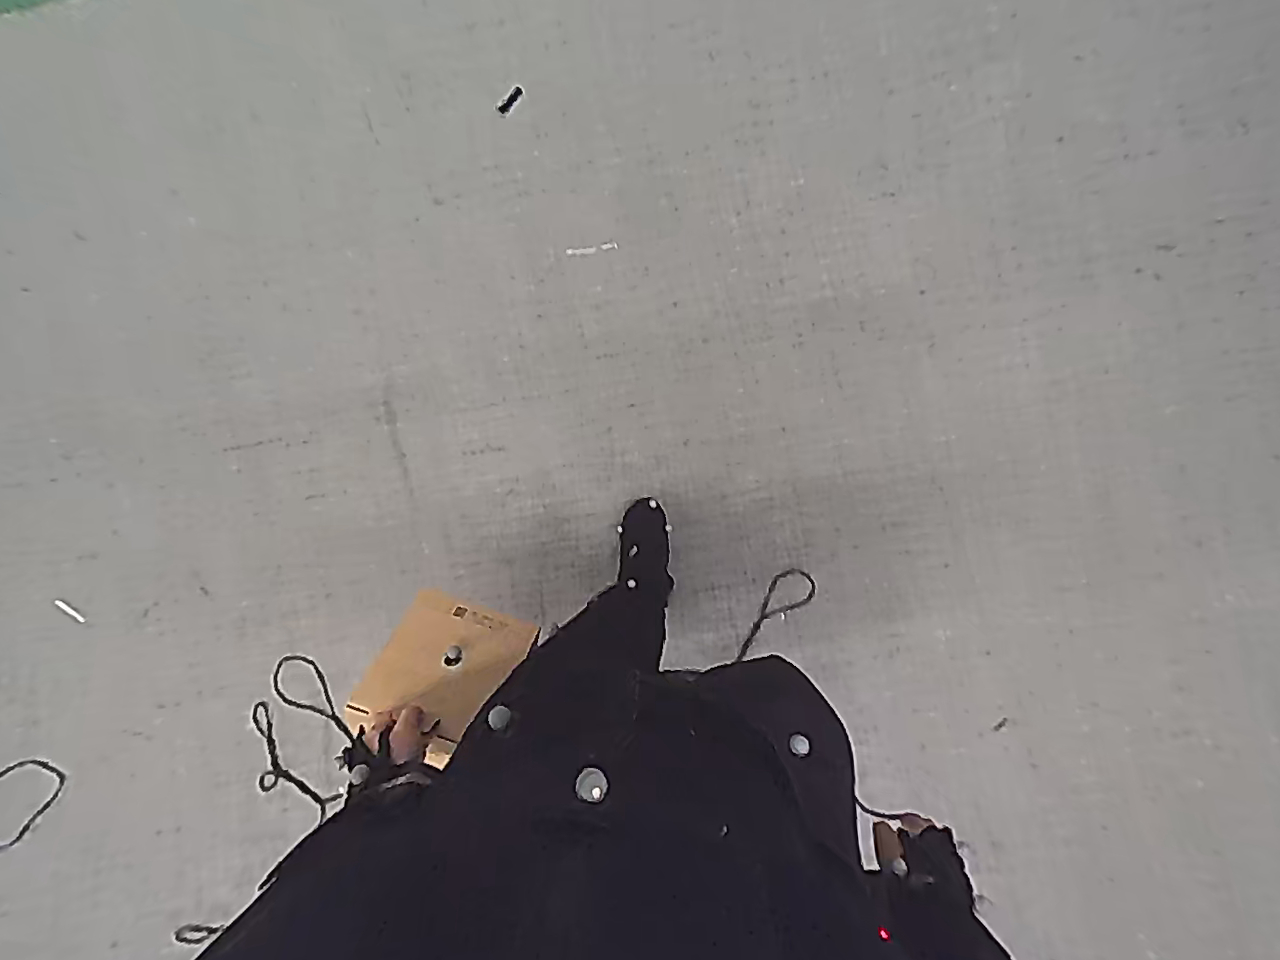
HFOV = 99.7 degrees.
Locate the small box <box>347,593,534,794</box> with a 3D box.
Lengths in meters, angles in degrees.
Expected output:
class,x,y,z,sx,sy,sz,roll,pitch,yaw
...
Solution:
class,x,y,z,sx,sy,sz,roll,pitch,yaw
small box,-0.248,0.276,0.709,0.168,0.179,0.176,18,43,0
